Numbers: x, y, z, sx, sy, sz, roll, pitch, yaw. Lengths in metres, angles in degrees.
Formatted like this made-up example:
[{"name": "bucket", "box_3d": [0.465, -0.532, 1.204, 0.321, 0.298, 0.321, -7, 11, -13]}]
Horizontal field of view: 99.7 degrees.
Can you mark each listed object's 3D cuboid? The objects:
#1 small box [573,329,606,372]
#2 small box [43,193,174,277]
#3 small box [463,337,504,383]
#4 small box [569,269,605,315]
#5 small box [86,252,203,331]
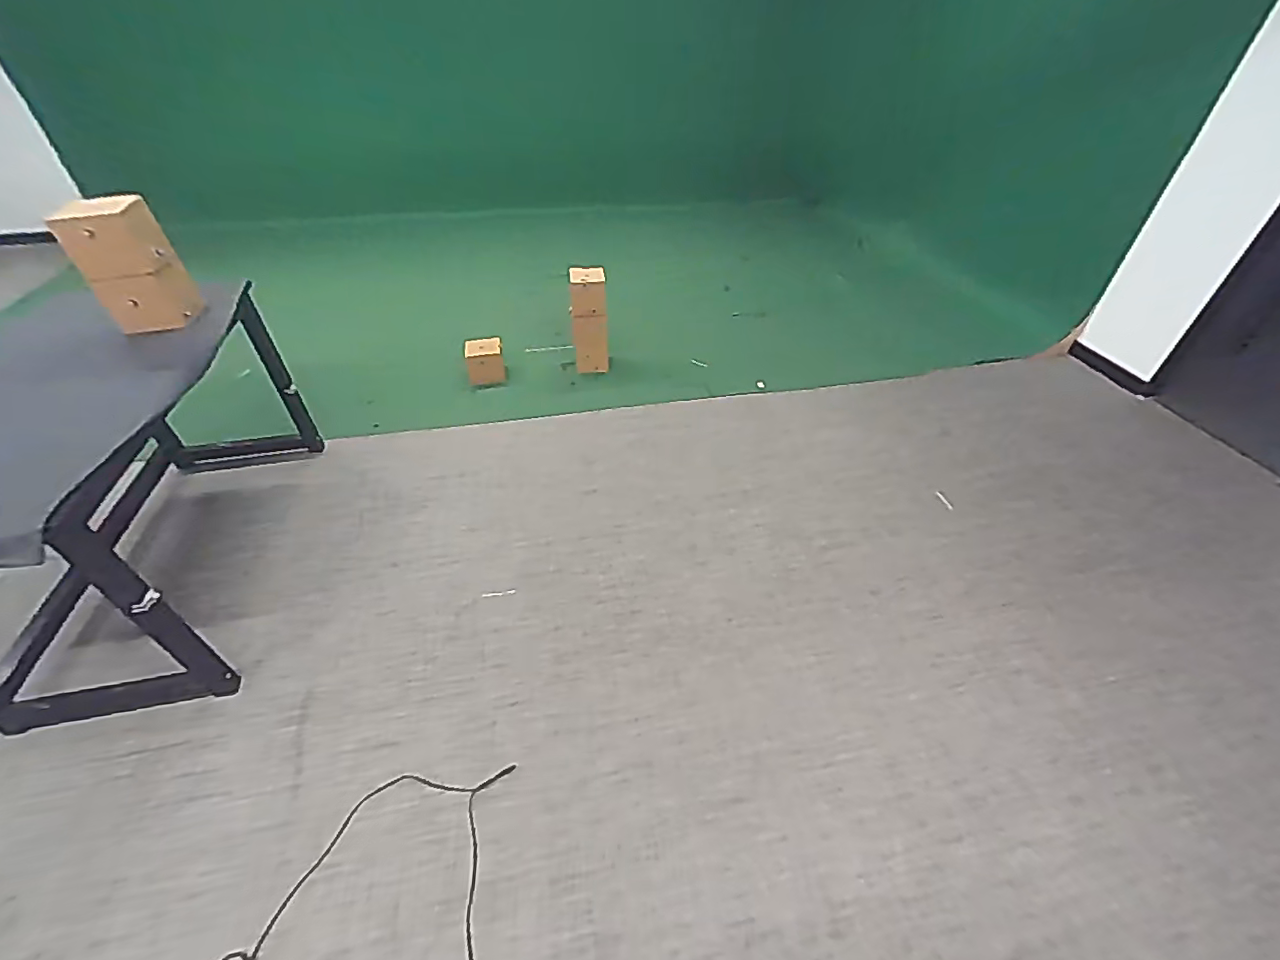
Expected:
[{"name": "small box", "box_3d": [-0.264, -0.687, 2.877, 0.168, 0.176, 0.179, -2, 42, -4]}, {"name": "small box", "box_3d": [-1.483, -0.688, 1.524, 0.179, 0.176, 0.168, -11, 45, -11]}, {"name": "small box", "box_3d": [-0.804, -0.613, 2.780, 0.179, 0.176, 0.168, -8, 44, -10]}, {"name": "small box", "box_3d": [-0.262, -0.922, 2.647, 0.168, 0.176, 0.179, -4, 42, -7]}, {"name": "small box", "box_3d": [-1.483, -0.570, 1.635, 0.179, 0.176, 0.168, -10, 44, -7]}]
